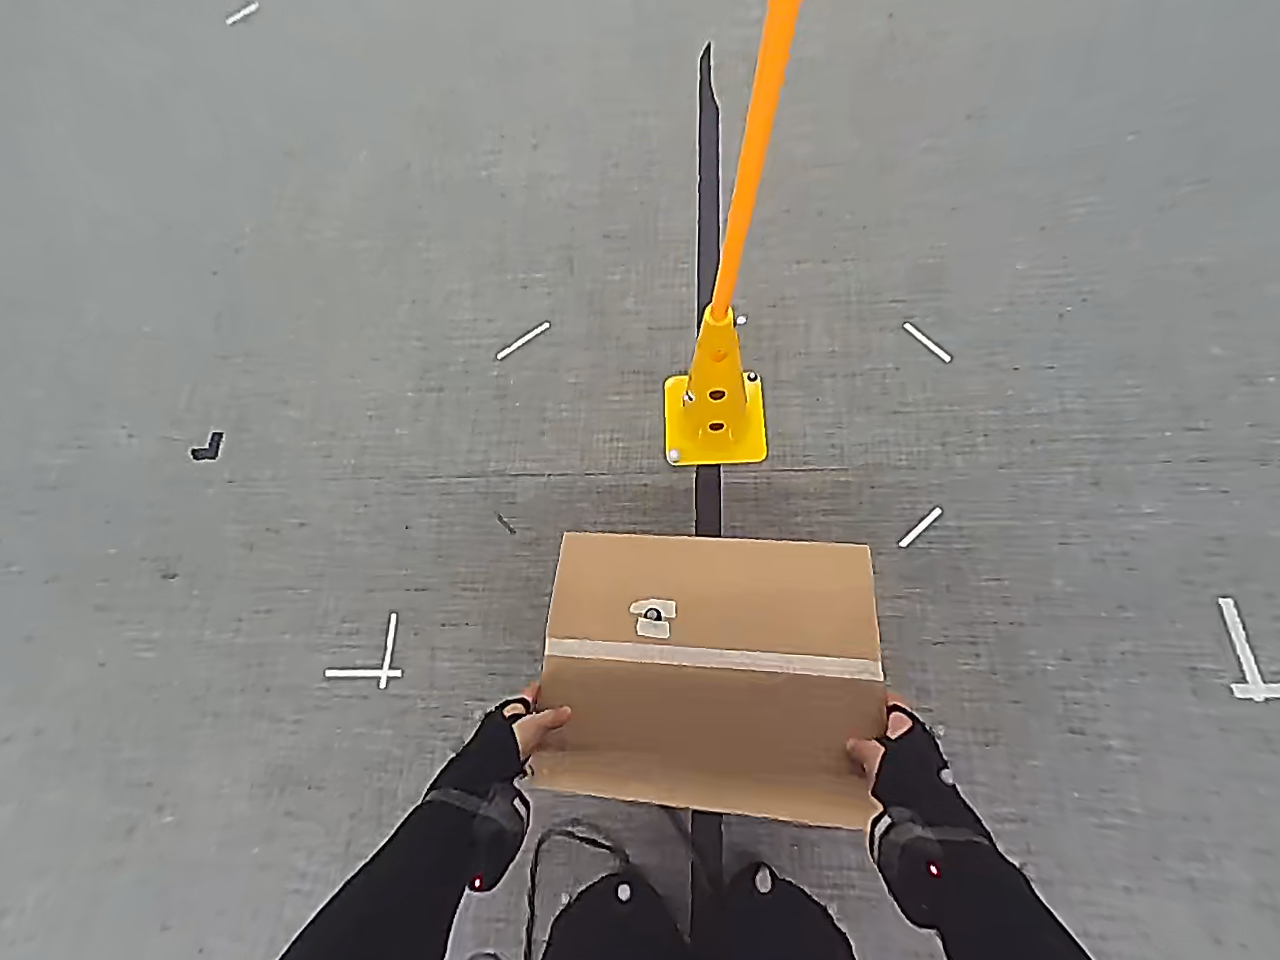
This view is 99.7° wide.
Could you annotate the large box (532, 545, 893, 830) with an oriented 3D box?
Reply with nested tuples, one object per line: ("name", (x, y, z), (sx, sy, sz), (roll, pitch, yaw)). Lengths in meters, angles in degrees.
("large box", (0.104, 0.294, 0.790), (0.408, 0.320, 0.320), (0, 62, 10))
